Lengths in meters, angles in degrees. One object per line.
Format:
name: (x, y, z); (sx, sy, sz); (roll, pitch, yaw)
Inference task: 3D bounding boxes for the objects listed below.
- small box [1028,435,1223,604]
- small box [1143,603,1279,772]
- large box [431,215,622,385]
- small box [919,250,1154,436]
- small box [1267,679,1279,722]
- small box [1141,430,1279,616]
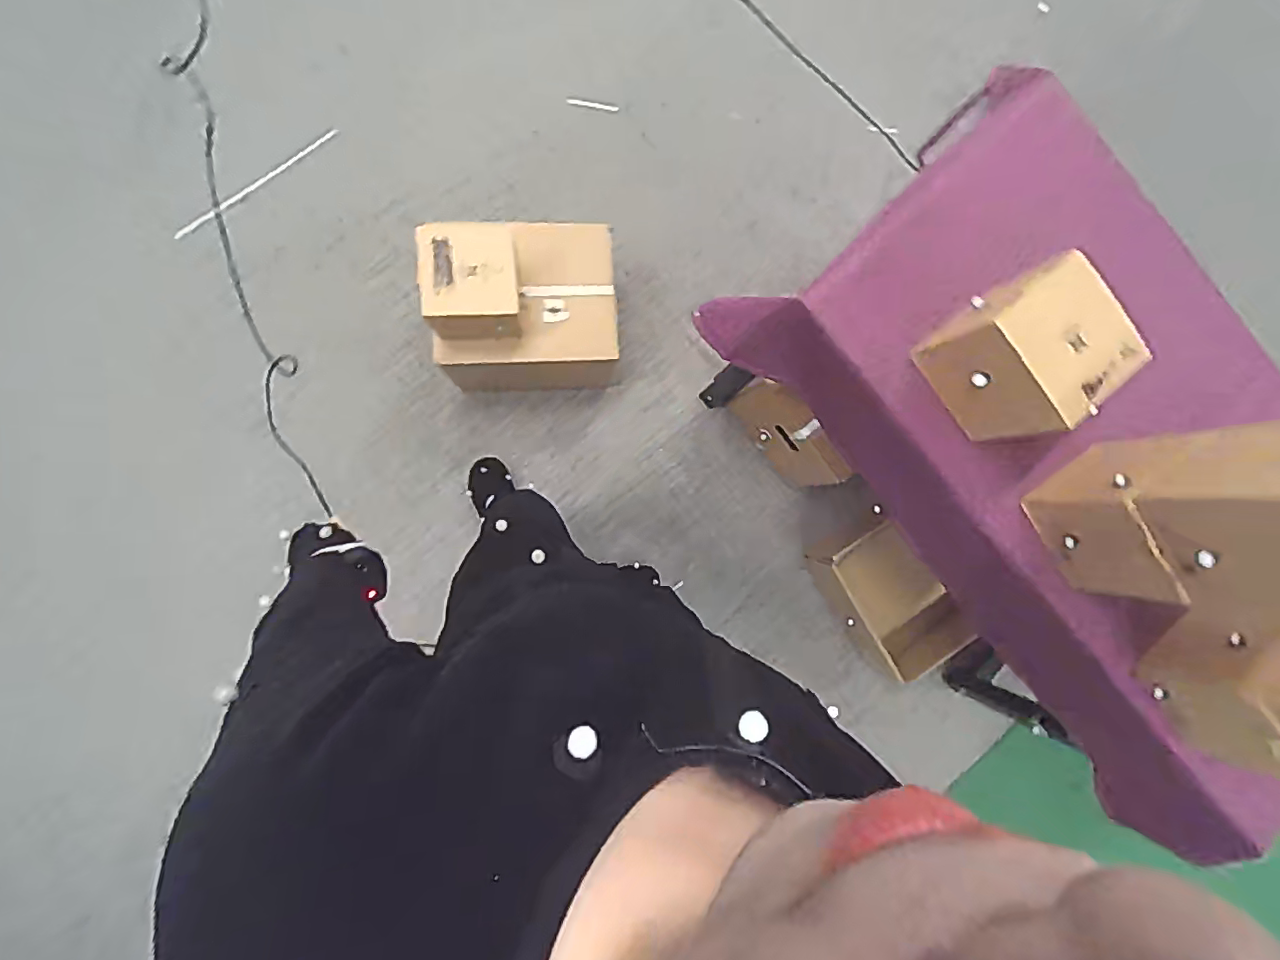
small box: (0.732, 0.051, 0.794); (0.179, 0.176, 0.168); (-33, 93, -7)
small box: (0.920, 0.311, 0.811); (0.179, 0.176, 0.168); (-38, 94, -8)
large box: (-0.268, -0.423, 1.331); (0.408, 0.320, 0.320); (-3, 90, -9)
small box: (0.547, -0.180, 0.771); (0.168, 0.176, 0.179); (-38, 93, -6)
small box: (0.947, 0.308, 0.650); (0.168, 0.176, 0.179); (-37, 93, -8)
small box: (0.761, 0.044, 0.631); (0.179, 0.176, 0.168); (-32, 92, -7)
